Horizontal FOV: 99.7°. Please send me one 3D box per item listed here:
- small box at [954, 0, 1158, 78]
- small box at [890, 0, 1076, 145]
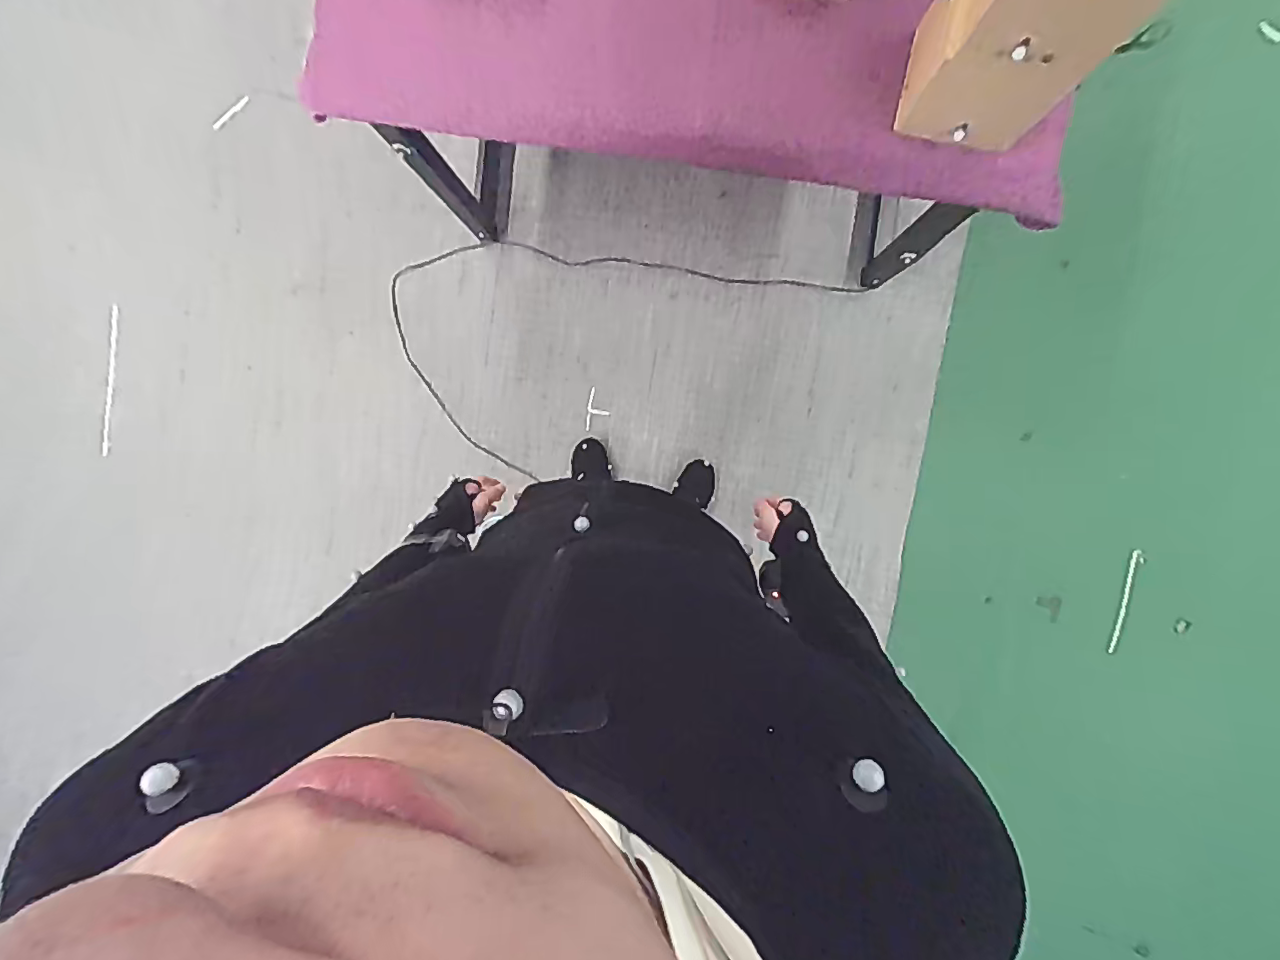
[{"bbox_3d":[0.484,-0.603,0.600,0.168,0.176,0.179,13,94,4],"label":"small box"},{"bbox_3d":[0.489,-0.610,0.763,0.179,0.176,0.168,13,93,2],"label":"small box"}]
